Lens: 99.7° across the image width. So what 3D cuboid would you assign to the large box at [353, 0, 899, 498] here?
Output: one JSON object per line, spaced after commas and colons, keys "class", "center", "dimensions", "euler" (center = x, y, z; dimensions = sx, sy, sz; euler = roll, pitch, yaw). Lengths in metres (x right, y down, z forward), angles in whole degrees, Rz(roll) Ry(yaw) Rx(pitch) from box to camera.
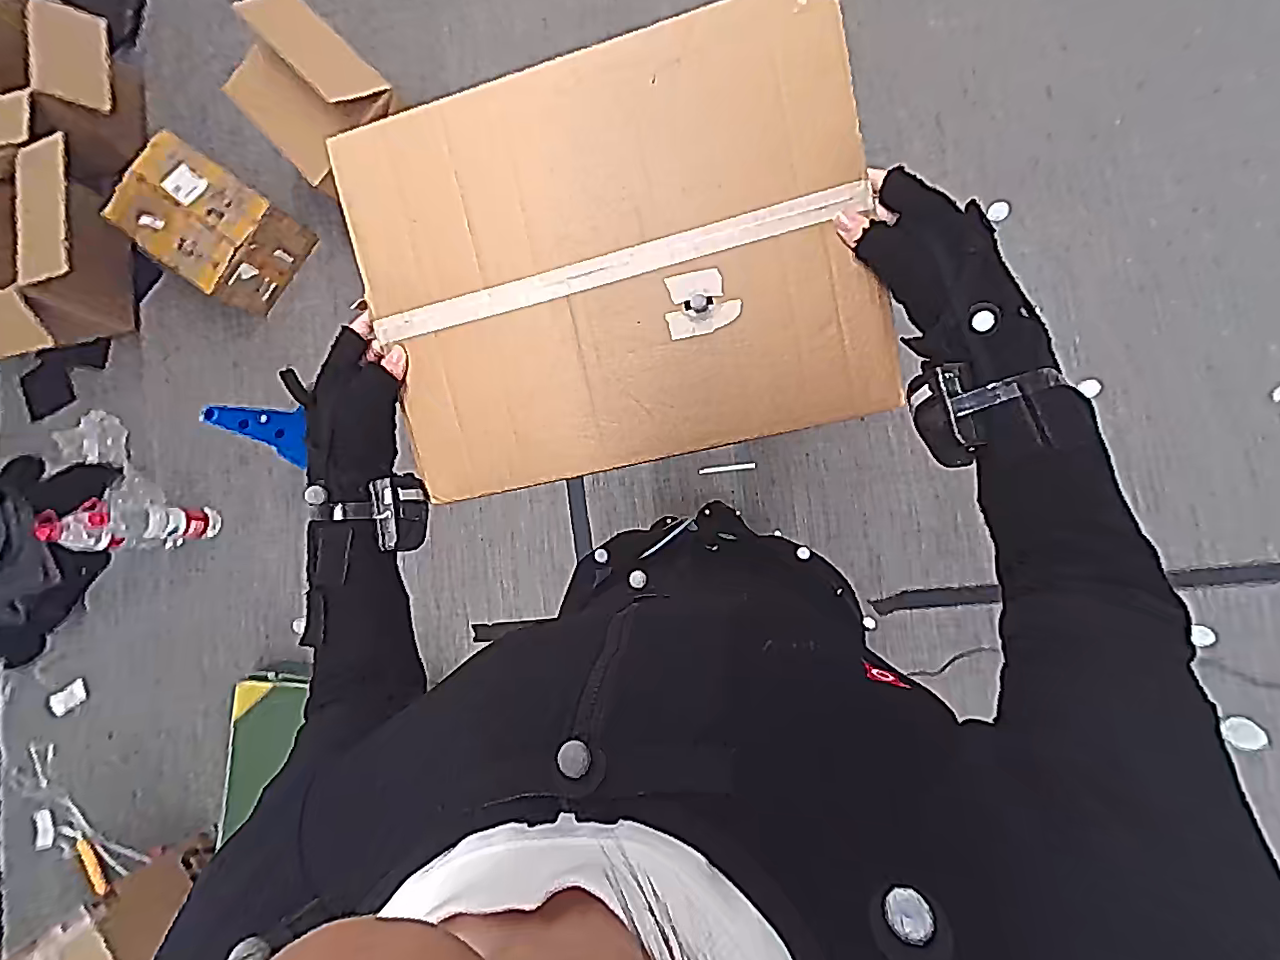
{"class": "large box", "center": [-0.001, -0.193, 0.586], "dimensions": [0.408, 0.320, 0.320], "euler": [-12, 98, 9]}
